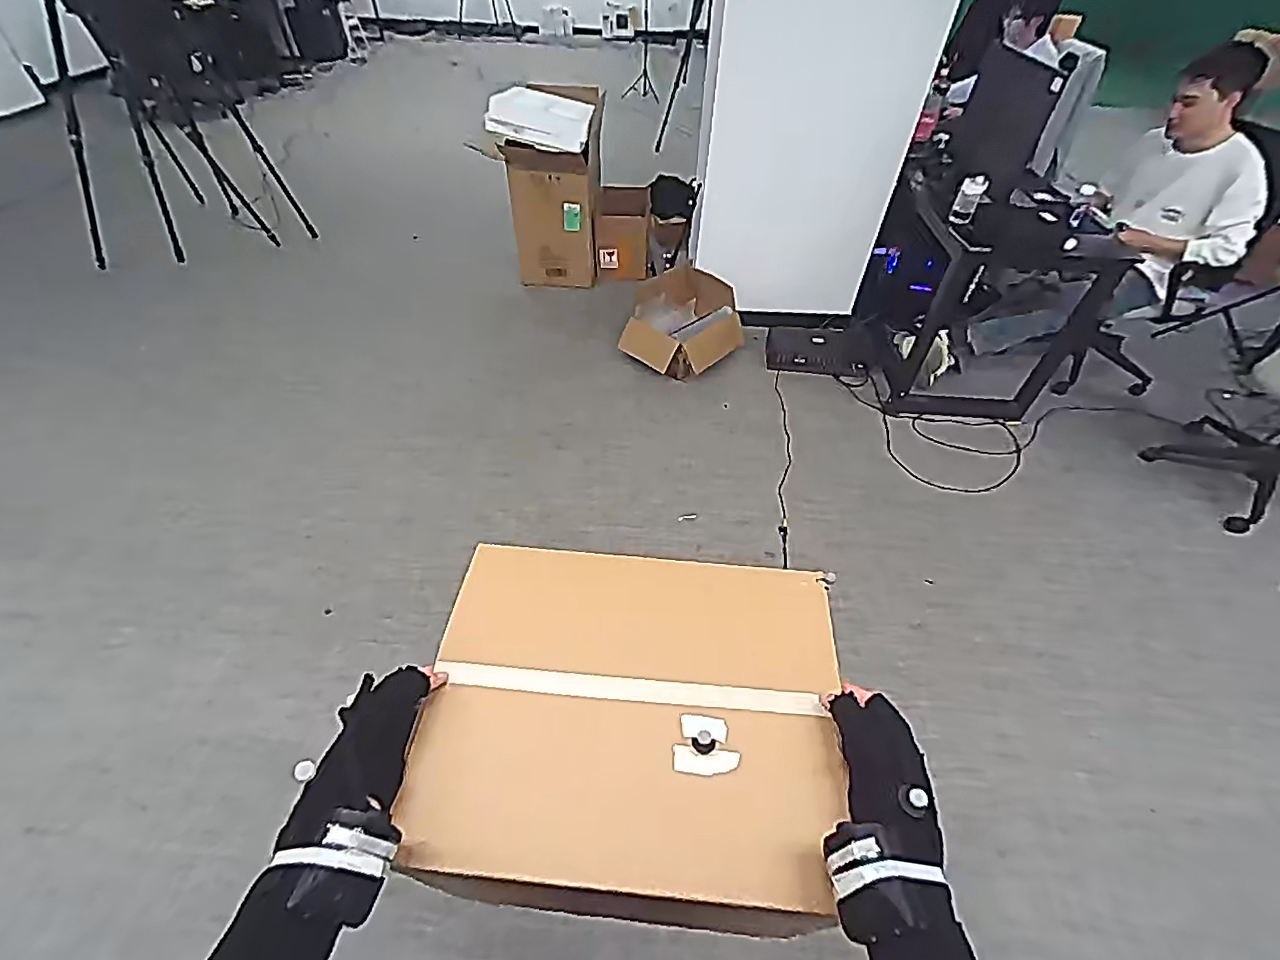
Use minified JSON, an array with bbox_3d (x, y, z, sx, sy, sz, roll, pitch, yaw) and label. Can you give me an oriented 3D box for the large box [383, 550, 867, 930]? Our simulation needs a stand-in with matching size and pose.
[{"bbox_3d":[-0.009,0.309,0.643,0.408,0.320,0.320,5,48,2],"label":"large box"}]
